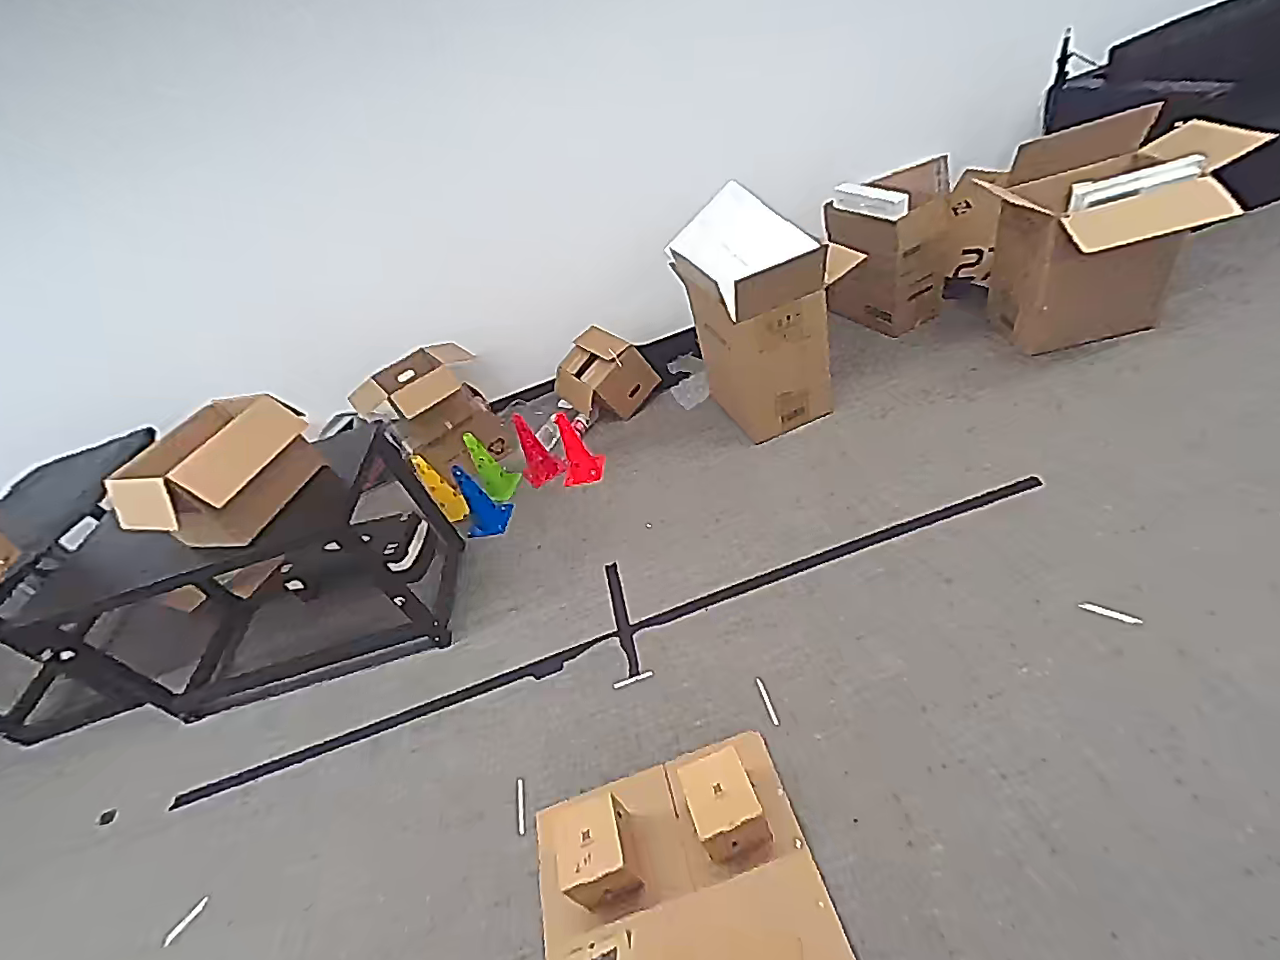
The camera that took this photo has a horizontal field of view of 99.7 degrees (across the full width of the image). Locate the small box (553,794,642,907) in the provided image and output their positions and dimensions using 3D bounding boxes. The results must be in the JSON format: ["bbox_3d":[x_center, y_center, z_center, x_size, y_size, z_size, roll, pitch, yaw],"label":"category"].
[{"bbox_3d":[-0.109,0.948,1.383,0.168,0.176,0.179,-22,39,0],"label":"small box"}]

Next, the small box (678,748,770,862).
[{"bbox_3d":[0.215,0.833,1.385,0.168,0.176,0.179,-23,39,-3],"label":"small box"}]

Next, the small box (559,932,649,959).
[{"bbox_3d":[-0.062,1.123,1.163,0.168,0.176,0.179,-22,40,-1],"label":"small box"}]
